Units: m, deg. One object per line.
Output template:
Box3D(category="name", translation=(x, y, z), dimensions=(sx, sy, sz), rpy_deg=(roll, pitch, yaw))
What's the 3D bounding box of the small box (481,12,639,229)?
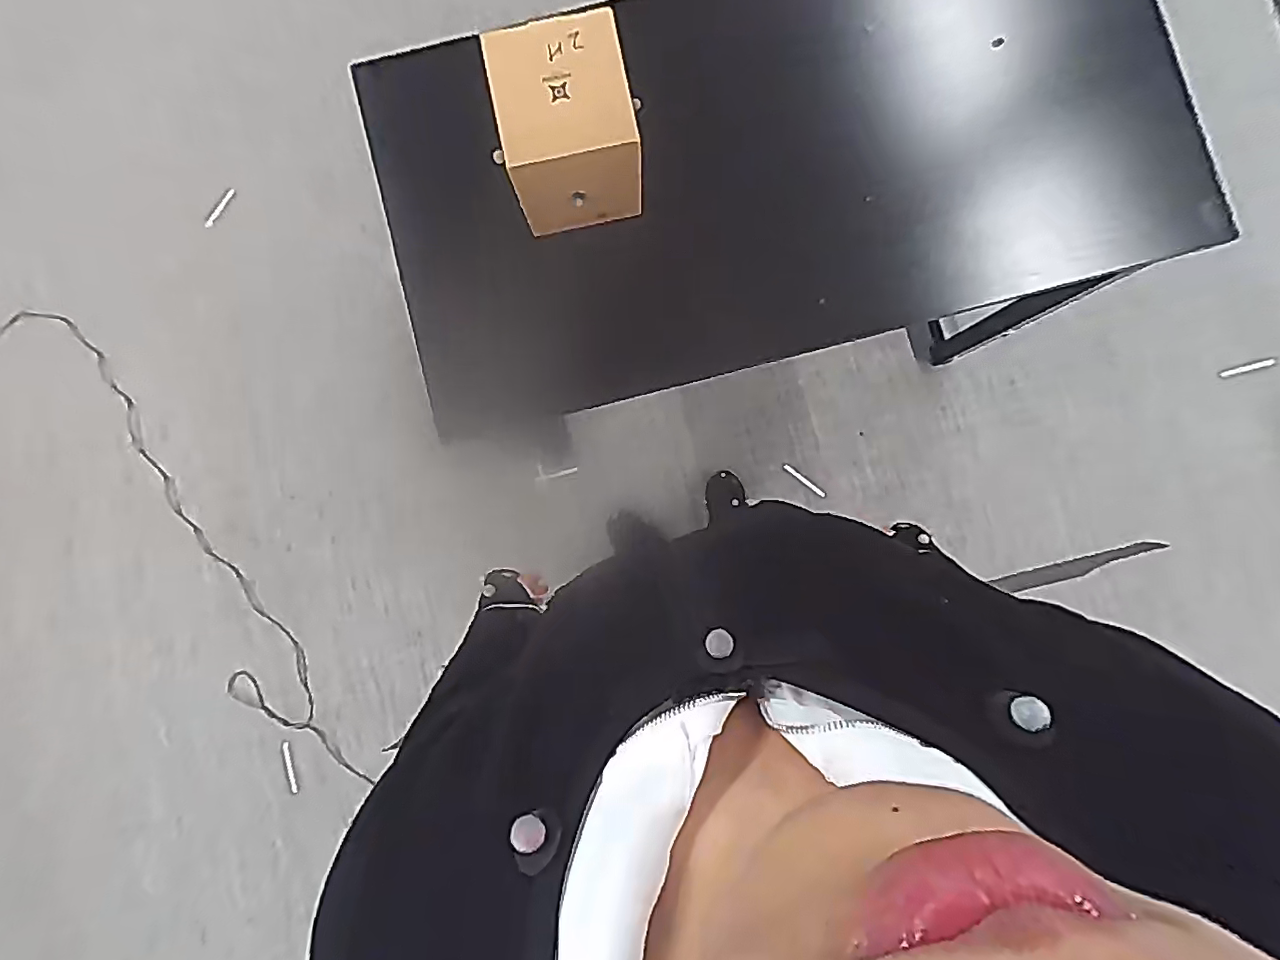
Box3D(category="small box", translation=(-0.097, -0.467, 0.736), dimensions=(0.168, 0.176, 0.179), rpy_deg=(-12, 86, 0))
